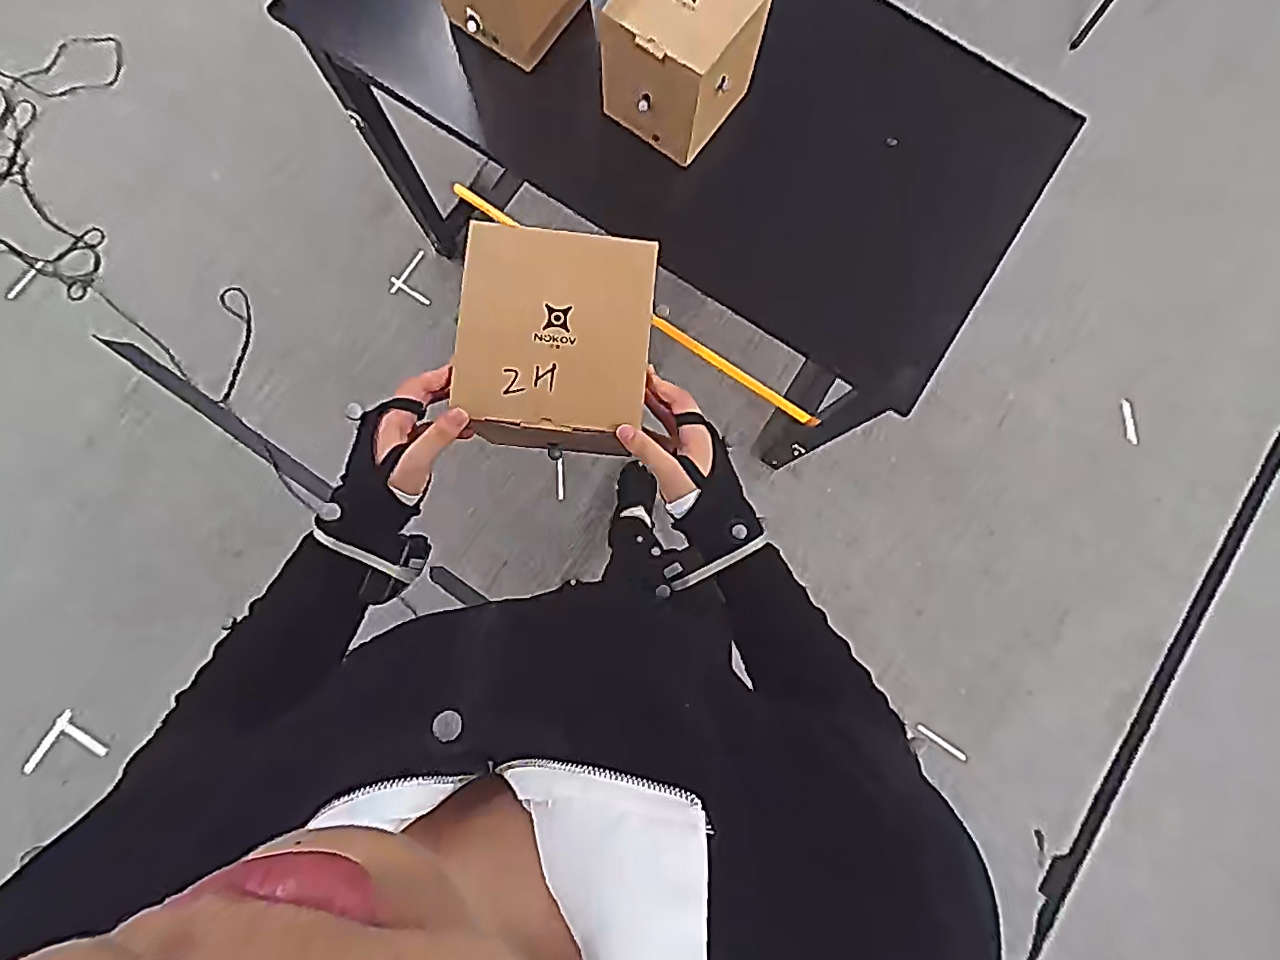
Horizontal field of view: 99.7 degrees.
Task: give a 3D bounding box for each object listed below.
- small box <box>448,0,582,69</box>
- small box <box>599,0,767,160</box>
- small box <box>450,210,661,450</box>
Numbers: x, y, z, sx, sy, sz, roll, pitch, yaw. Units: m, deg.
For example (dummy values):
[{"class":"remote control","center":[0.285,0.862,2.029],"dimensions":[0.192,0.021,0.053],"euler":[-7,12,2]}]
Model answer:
[{"class":"small box","center":[-0.194,-0.779,0.803],"dimensions":[0.168,0.176,0.179],"euler":[33,84,3]},{"class":"small box","center":[0.059,-0.621,0.791],"dimensions":[0.168,0.176,0.179],"euler":[36,83,2]},{"class":"small box","center":[-0.077,-0.134,0.545],"dimensions":[0.168,0.176,0.179],"euler":[6,85,-3]}]
